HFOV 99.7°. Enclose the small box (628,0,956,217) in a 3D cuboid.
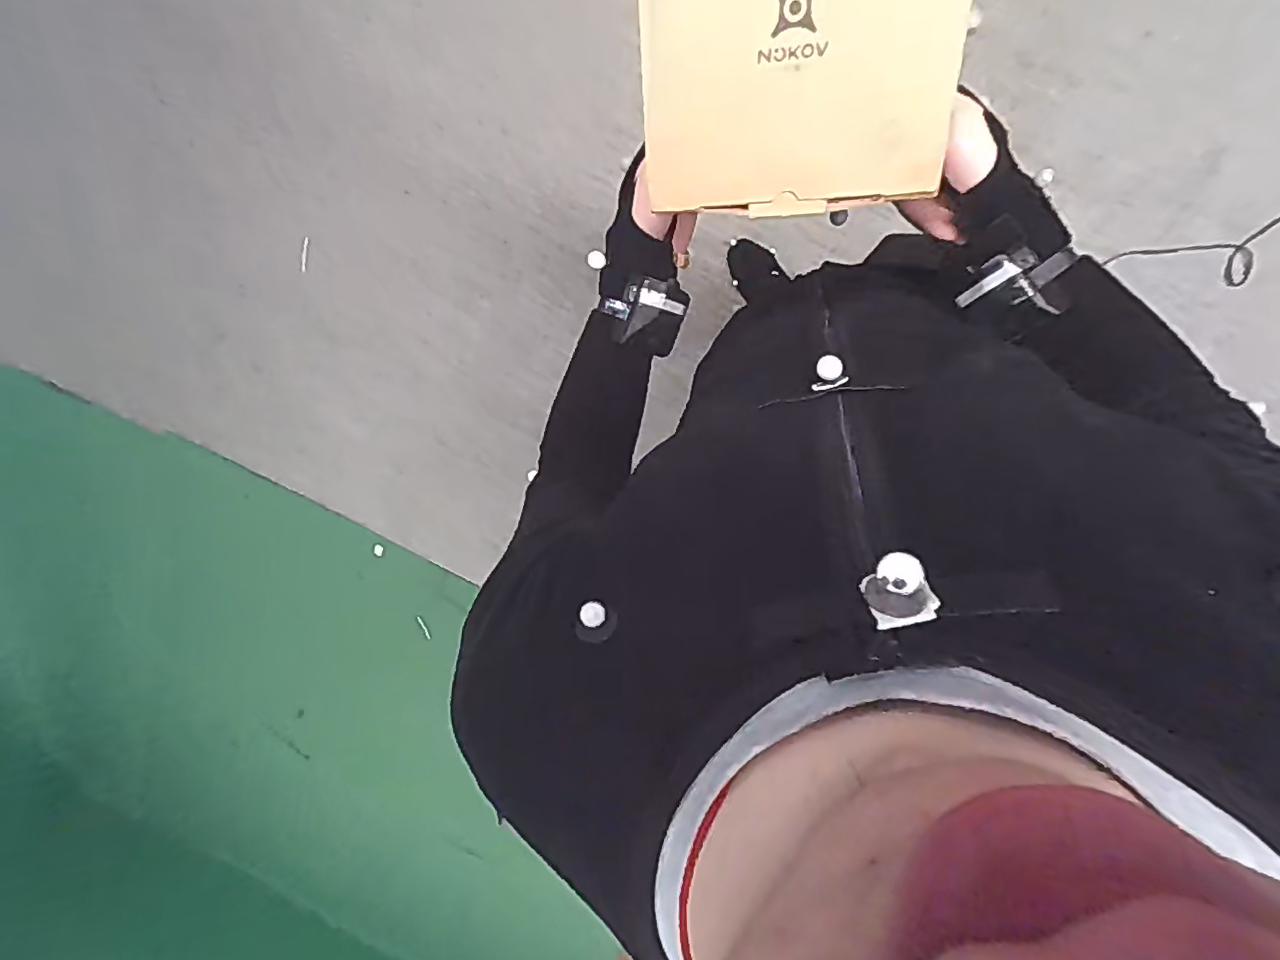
[{"bbox_3d":[0.092,-0.273,0.347,0.168,0.176,0.179,3,117,13],"label":"small box"}]
